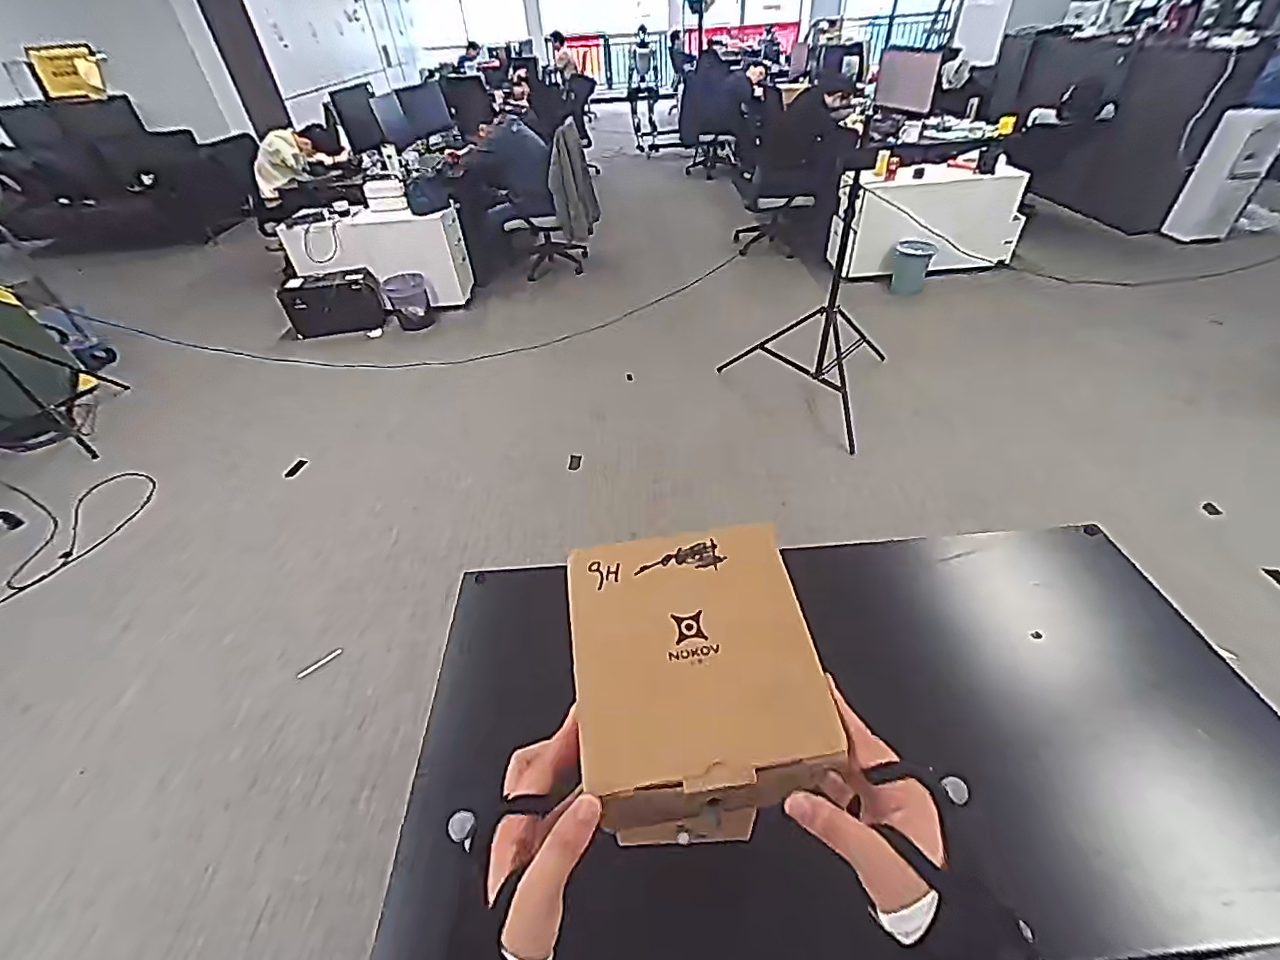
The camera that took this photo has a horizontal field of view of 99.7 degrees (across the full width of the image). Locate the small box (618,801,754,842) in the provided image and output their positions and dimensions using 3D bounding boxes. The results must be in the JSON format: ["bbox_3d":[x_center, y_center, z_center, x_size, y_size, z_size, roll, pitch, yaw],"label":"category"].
[{"bbox_3d":[0.047,0.335,0.692,0.168,0.176,0.179,-4,41,2],"label":"small box"}]

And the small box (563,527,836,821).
[{"bbox_3d":[0.035,0.166,0.445,0.168,0.176,0.179,-9,52,-4],"label":"small box"}]
